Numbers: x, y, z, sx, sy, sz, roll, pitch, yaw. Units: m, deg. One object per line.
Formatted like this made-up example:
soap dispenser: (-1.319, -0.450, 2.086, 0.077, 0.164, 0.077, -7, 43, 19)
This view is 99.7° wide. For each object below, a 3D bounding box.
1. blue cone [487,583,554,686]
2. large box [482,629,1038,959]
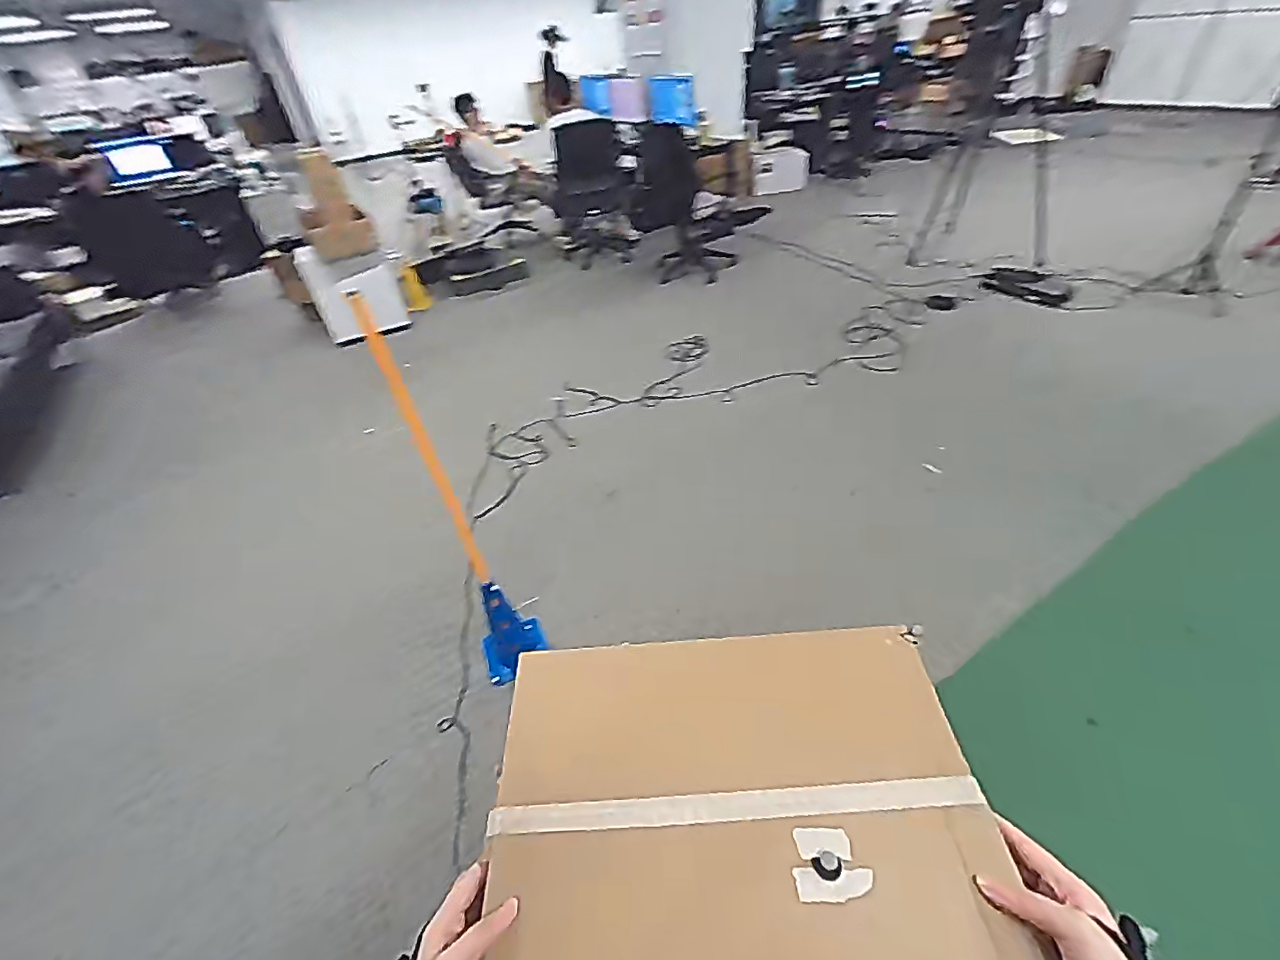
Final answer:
blue cone: (-0.411, 0.447, 1.683, 0.193, 0.380, 0.192, -19, 41, -13)
large box: (0.084, 0.387, 0.561, 0.408, 0.320, 0.320, -5, 43, 1)
